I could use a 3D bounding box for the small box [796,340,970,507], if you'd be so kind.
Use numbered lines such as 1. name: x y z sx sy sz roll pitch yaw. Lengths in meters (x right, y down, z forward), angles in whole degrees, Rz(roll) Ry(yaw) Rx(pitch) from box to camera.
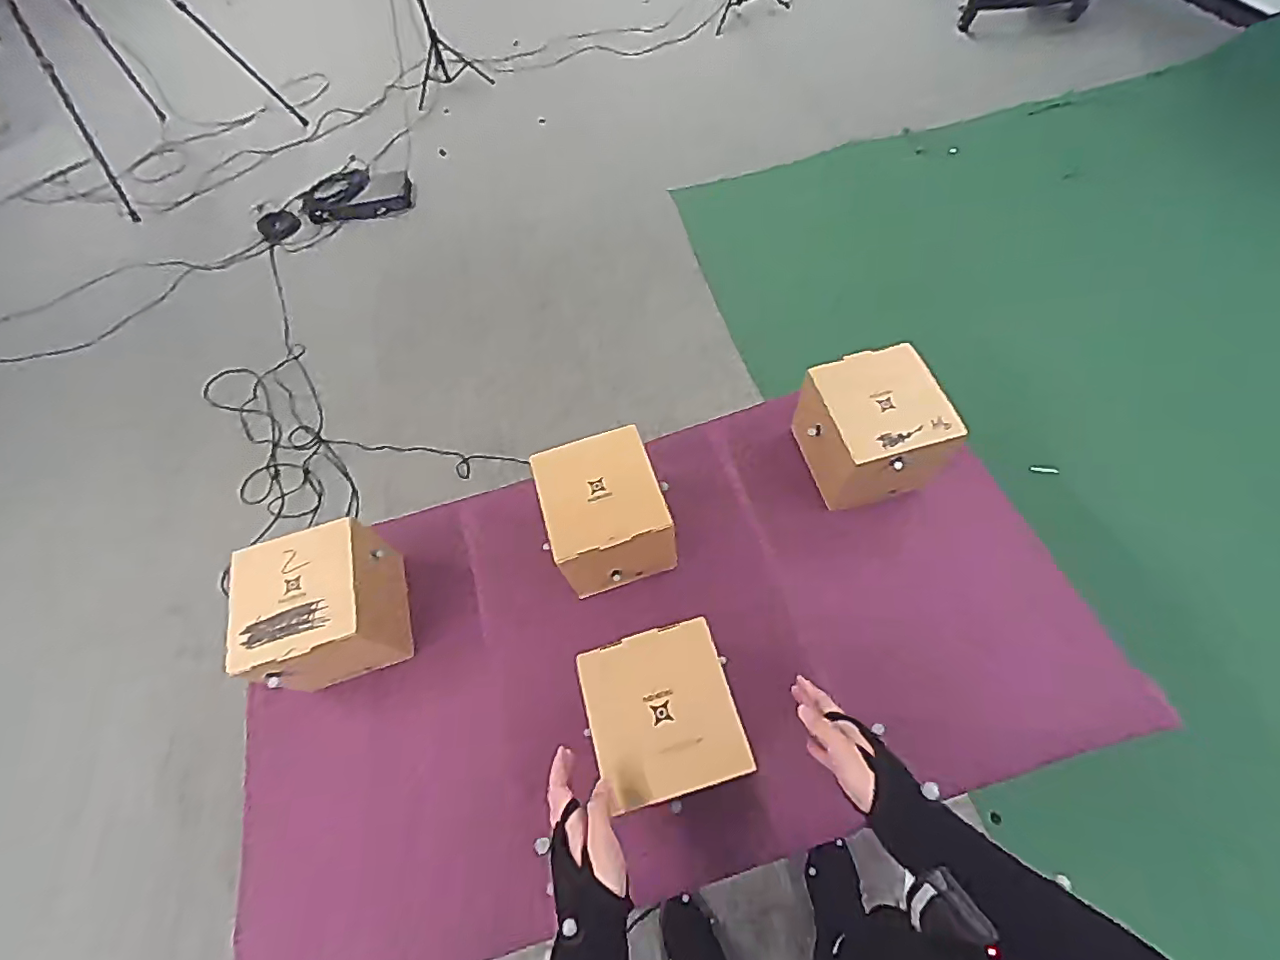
1. small box: 0.360 -0.083 0.844 0.168 0.176 0.179 -15 62 -1

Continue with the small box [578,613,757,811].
1. small box: 0.031 0.291 0.674 0.168 0.176 0.179 -16 61 -3

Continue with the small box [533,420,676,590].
1. small box: -0.050 0.043 0.817 0.168 0.176 0.179 -17 63 -5
